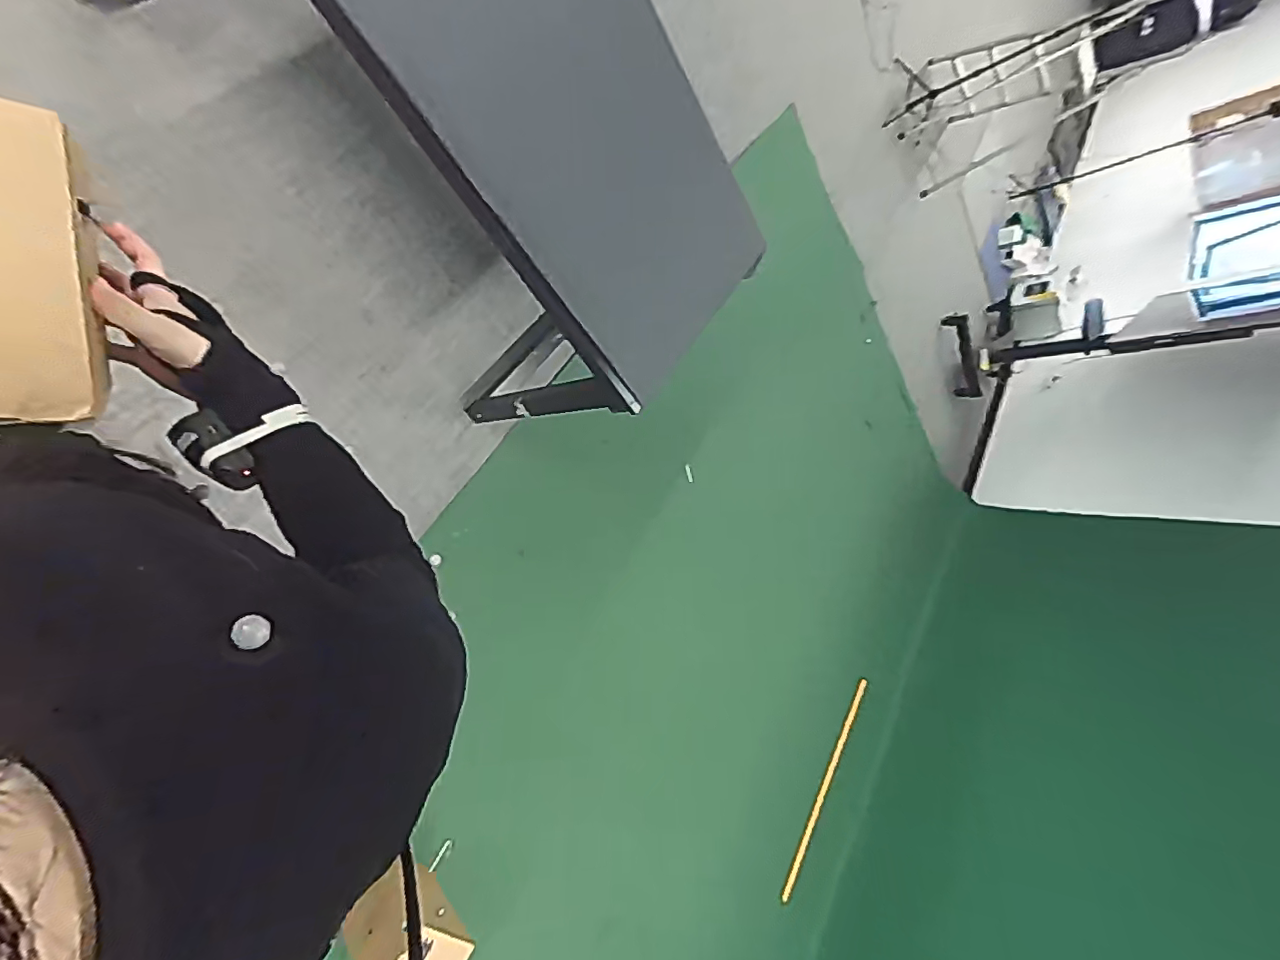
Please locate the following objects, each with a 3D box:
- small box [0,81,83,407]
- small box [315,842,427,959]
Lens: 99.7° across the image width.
[{"bbox_3d":[-0.453,-0.146,0.317,0.168,0.176,0.179,-4,109,-42],"label":"small box"},{"bbox_3d":[-0.700,1.085,1.403,0.168,0.176,0.179,-54,124,-26],"label":"small box"}]
